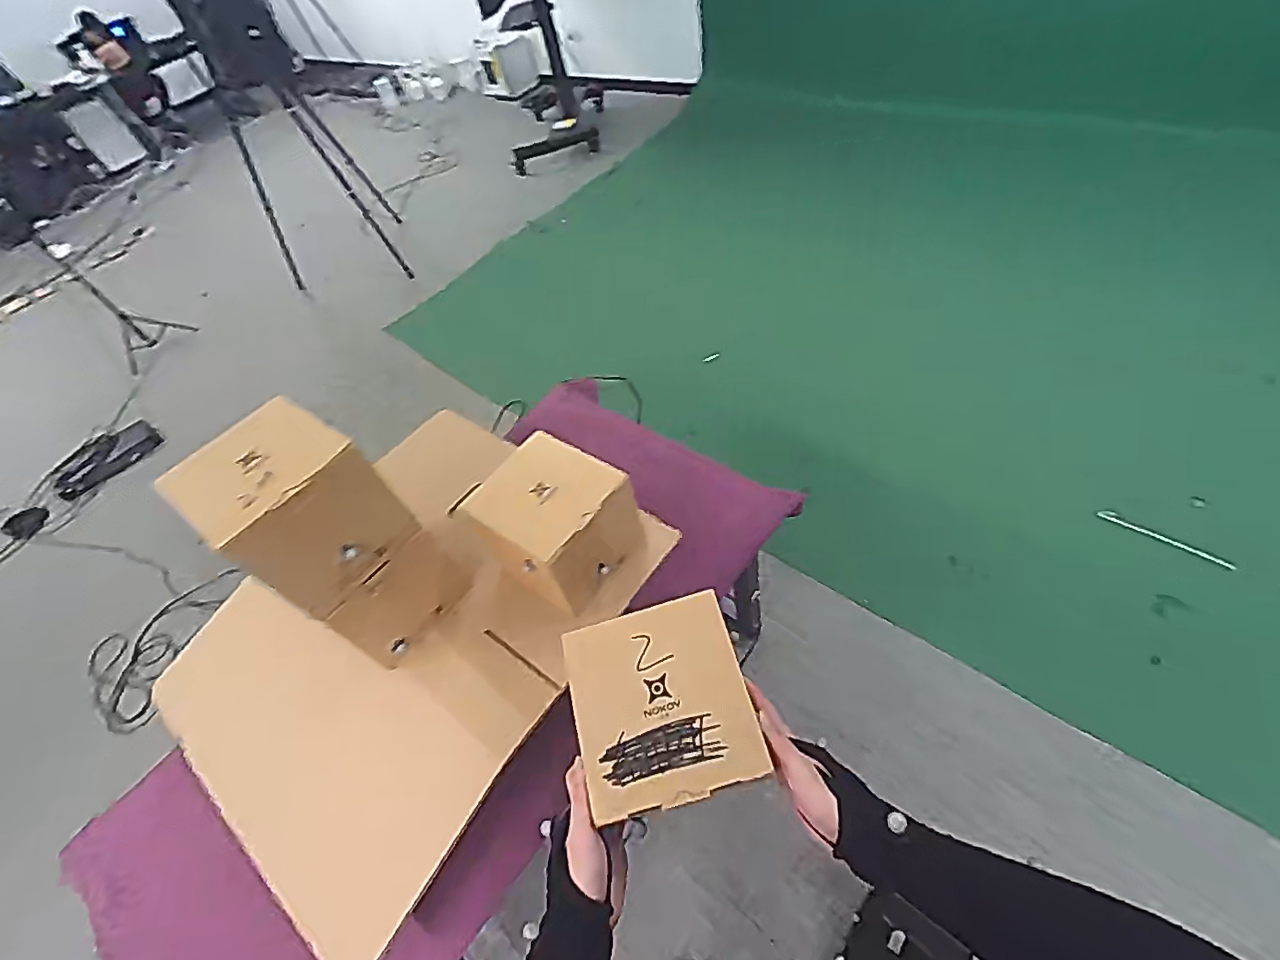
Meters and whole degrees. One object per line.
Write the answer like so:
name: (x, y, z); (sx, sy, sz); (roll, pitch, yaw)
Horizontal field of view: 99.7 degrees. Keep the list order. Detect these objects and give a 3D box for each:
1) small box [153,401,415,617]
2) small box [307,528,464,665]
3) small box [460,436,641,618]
small box: (-0.418, 0.038, 0.659); (0.179, 0.176, 0.168); (26, 60, 28)
small box: (-0.390, 0.141, 0.783); (0.179, 0.176, 0.168); (25, 59, 29)
small box: (-0.120, 0.071, 0.788); (0.179, 0.176, 0.168); (26, 61, 28)
